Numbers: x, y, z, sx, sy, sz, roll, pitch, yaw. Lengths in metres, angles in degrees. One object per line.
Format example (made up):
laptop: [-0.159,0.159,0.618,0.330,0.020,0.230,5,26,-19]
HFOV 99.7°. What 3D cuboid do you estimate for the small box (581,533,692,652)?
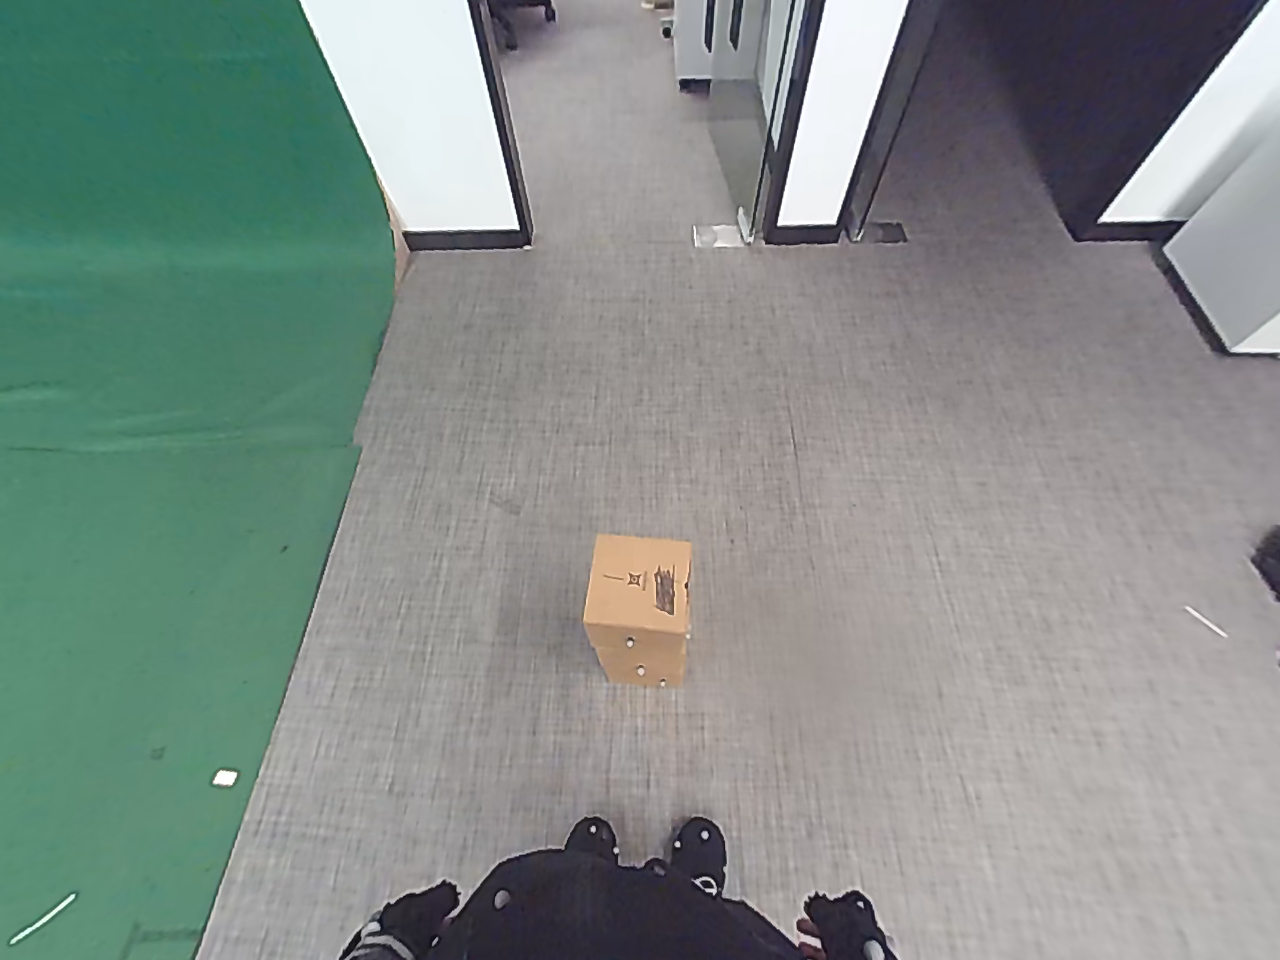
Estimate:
small box: [0.000,0.216,1.012,0.179,0.176,0.168,5,60,6]

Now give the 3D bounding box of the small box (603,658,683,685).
small box: [0.013,0.387,1.292,0.179,0.176,0.168,2,59,4]

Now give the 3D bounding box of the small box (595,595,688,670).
small box: [0.006,0.301,1.152,0.179,0.176,0.168,4,59,3]
